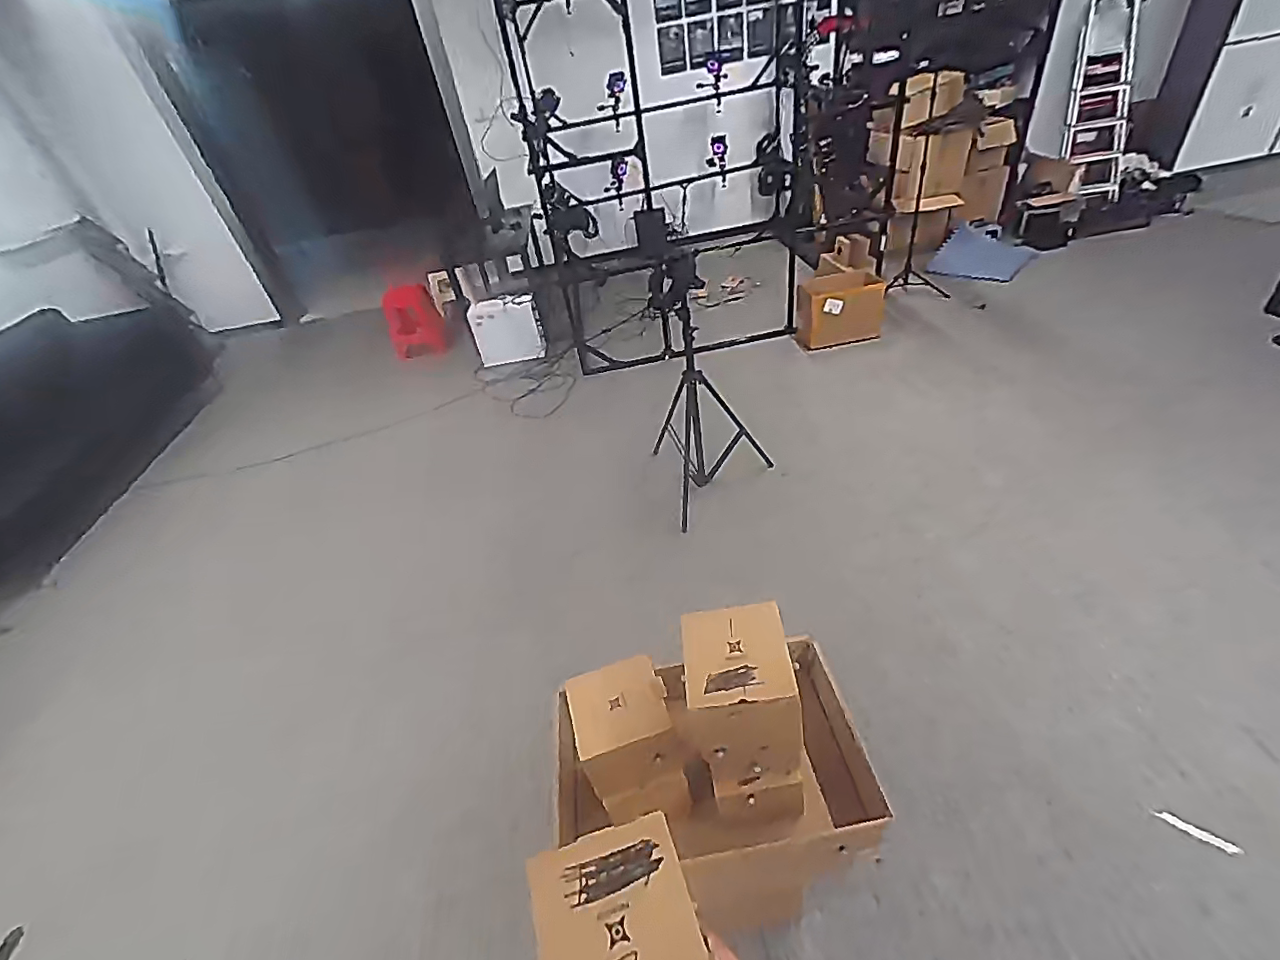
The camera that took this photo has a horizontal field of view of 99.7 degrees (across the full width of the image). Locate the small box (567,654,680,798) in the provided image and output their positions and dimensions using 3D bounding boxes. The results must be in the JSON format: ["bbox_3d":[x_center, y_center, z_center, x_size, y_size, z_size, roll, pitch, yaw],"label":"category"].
[{"bbox_3d":[-0.028,0.473,1.040,0.179,0.176,0.168,-16,38,-7],"label":"small box"}]

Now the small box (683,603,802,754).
[{"bbox_3d":[0.168,0.334,0.895,0.168,0.176,0.179,-9,38,8],"label":"small box"}]

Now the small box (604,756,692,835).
[{"bbox_3d":[0.002,0.601,1.137,0.168,0.176,0.179,-16,39,-6],"label":"small box"}]
